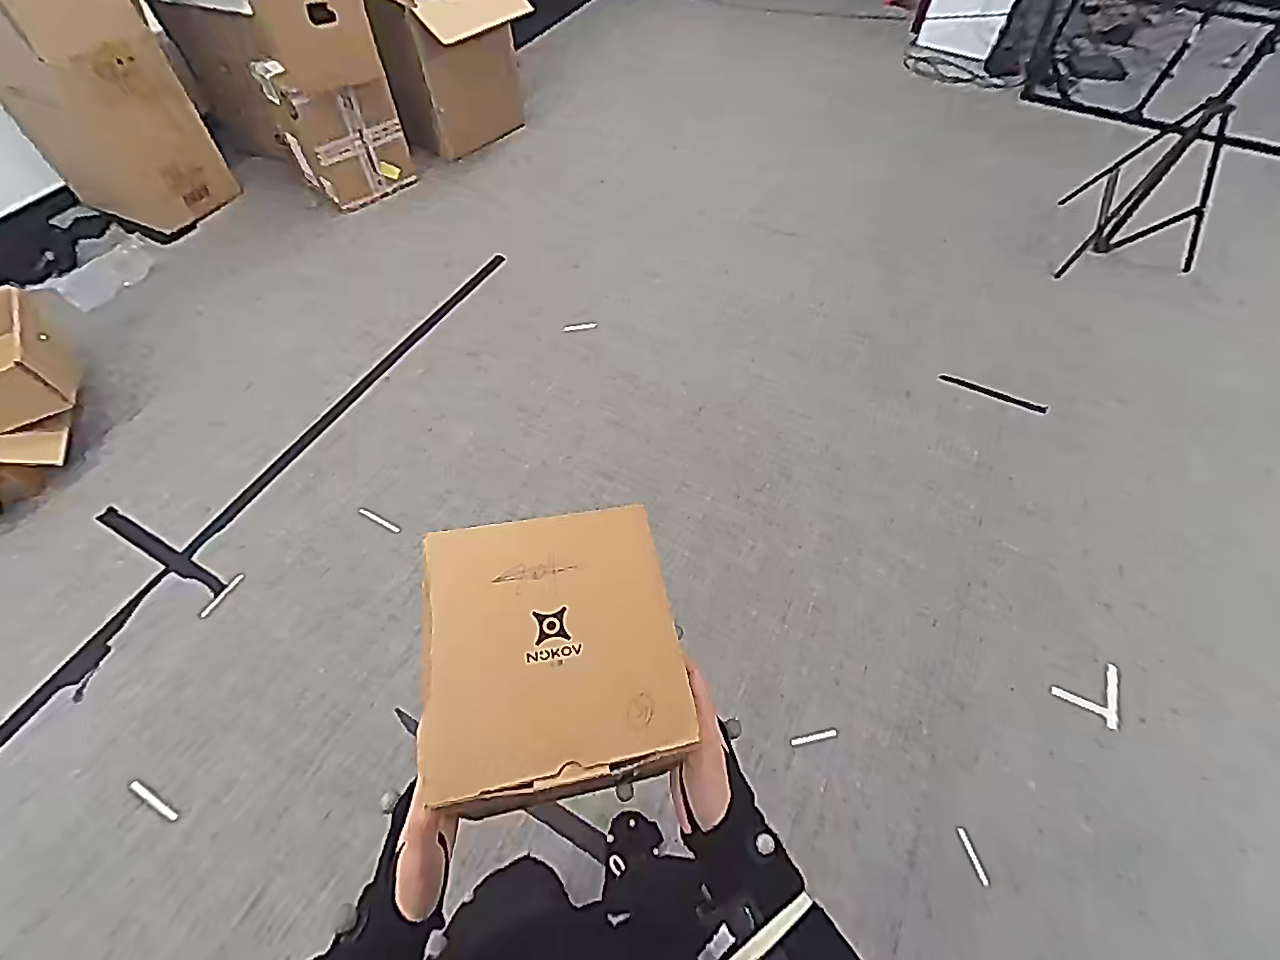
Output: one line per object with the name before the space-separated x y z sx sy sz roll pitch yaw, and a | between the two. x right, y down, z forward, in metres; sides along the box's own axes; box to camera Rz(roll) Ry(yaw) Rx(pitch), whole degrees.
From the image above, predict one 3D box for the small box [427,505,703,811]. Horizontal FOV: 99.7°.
small box | -0.064 0.144 0.425 0.168 0.176 0.179 -7 57 -13
